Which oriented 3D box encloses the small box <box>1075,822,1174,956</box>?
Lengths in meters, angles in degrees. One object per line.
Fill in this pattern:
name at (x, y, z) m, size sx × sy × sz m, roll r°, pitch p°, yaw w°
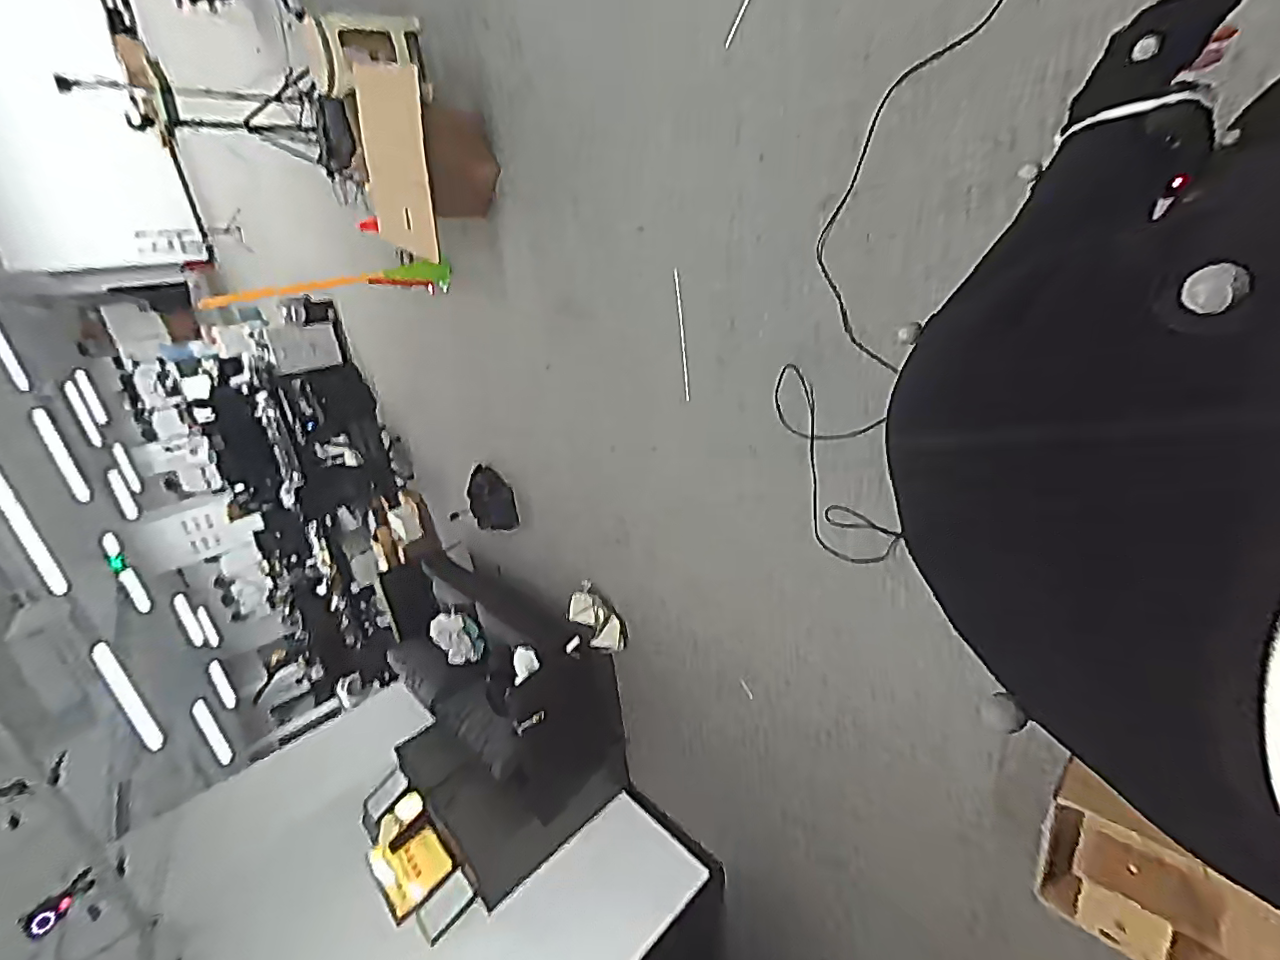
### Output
small box at (1.228, 1.022, 1.370) m, size 0.168 × 0.176 × 0.179 m, roll 9°, pitch 117°, yaw 46°
